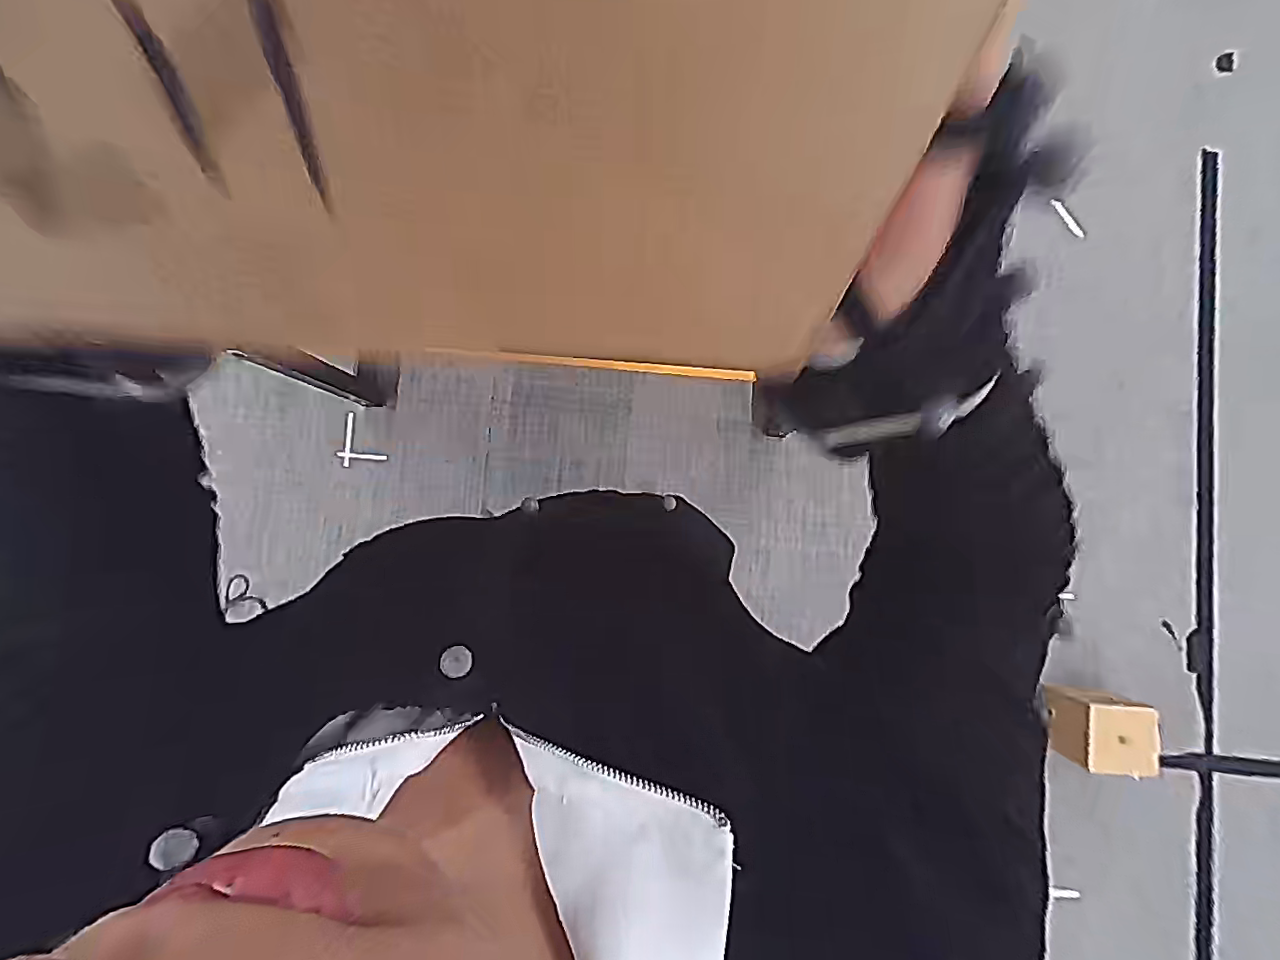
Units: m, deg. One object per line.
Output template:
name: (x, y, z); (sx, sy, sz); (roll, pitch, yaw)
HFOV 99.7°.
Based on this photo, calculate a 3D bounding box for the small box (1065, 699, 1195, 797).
small box: (1.211, 0.658, 1.345); (0.179, 0.176, 0.168); (3, 86, 0)
